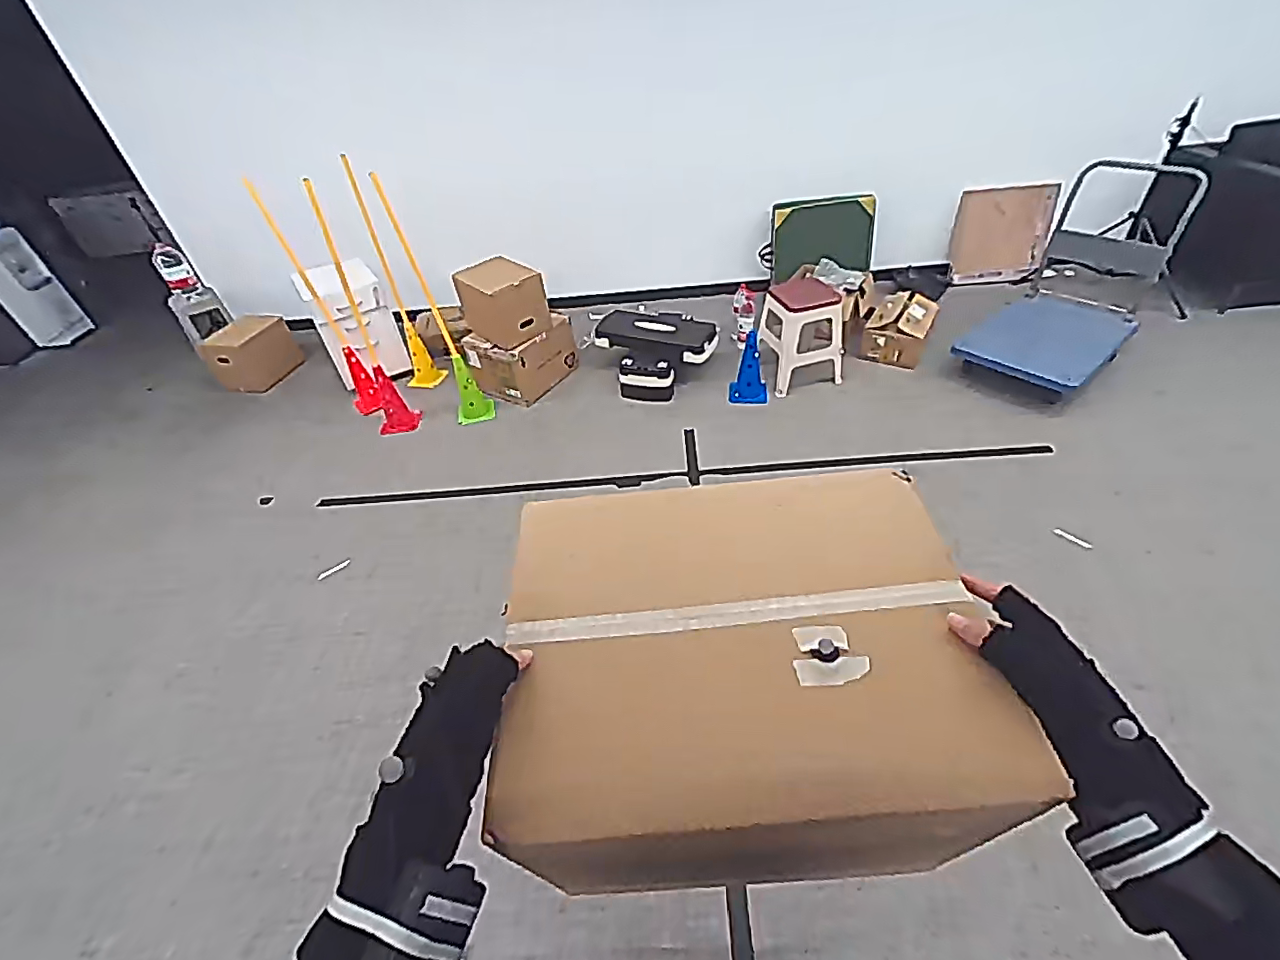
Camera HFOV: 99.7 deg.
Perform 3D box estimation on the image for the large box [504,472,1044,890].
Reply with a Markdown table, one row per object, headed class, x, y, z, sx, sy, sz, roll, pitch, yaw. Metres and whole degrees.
| class | x | y | z | sx | sy | sz | roll | pitch | yaw |
| --- | --- | --- | --- | --- | --- | --- | --- | --- | --- |
| large box | 0.097 | 0.224 | 0.598 | 0.408 | 0.320 | 0.320 | -6 | 47 | 1 |
